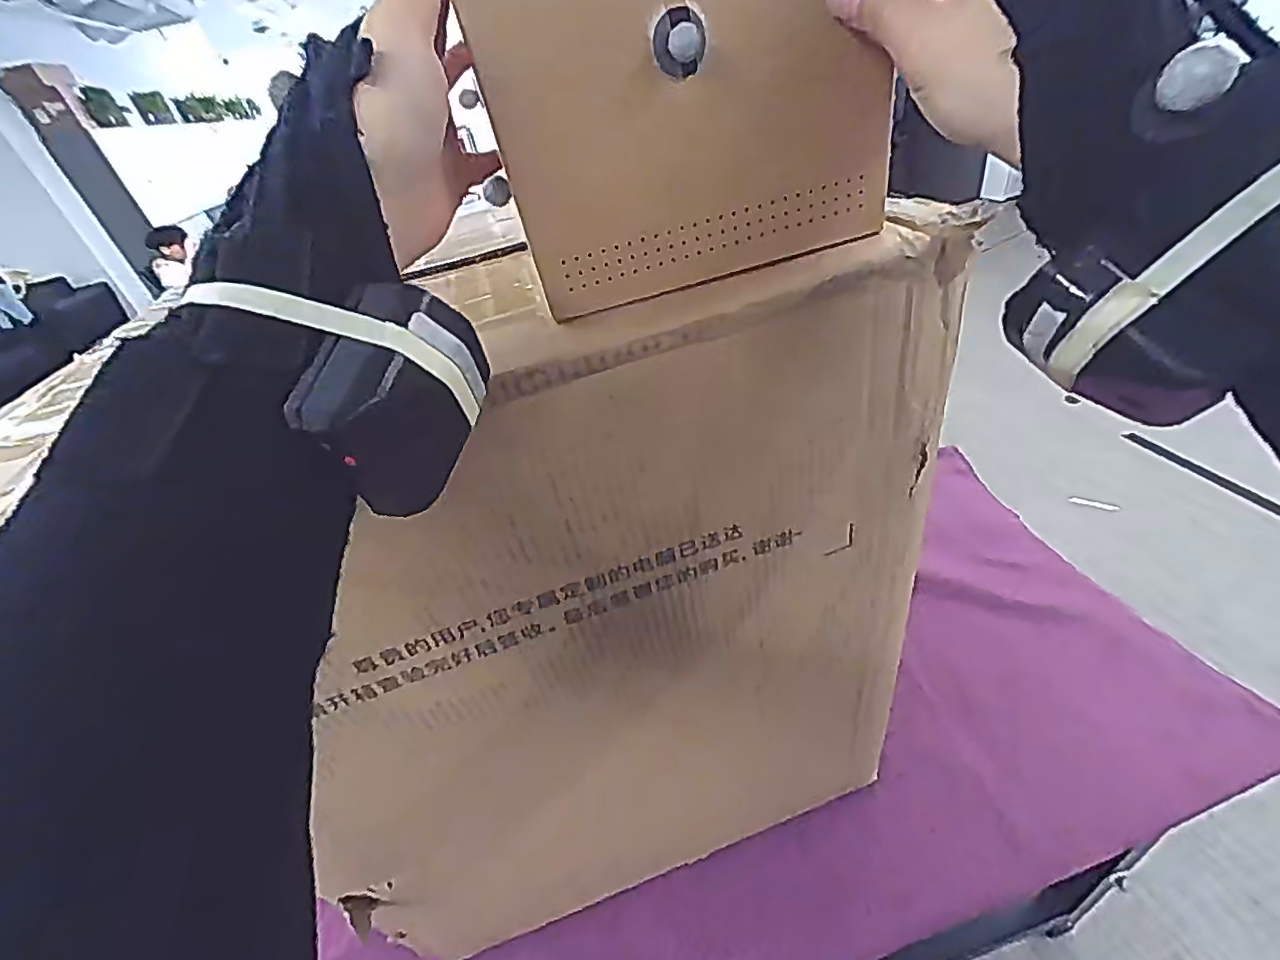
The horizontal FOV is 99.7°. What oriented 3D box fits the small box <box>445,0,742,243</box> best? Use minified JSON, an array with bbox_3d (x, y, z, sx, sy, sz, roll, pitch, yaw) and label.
[{"bbox_3d":[-0.035,-0.300,0.423,0.179,0.176,0.168,-18,36,-7],"label":"small box"}]
